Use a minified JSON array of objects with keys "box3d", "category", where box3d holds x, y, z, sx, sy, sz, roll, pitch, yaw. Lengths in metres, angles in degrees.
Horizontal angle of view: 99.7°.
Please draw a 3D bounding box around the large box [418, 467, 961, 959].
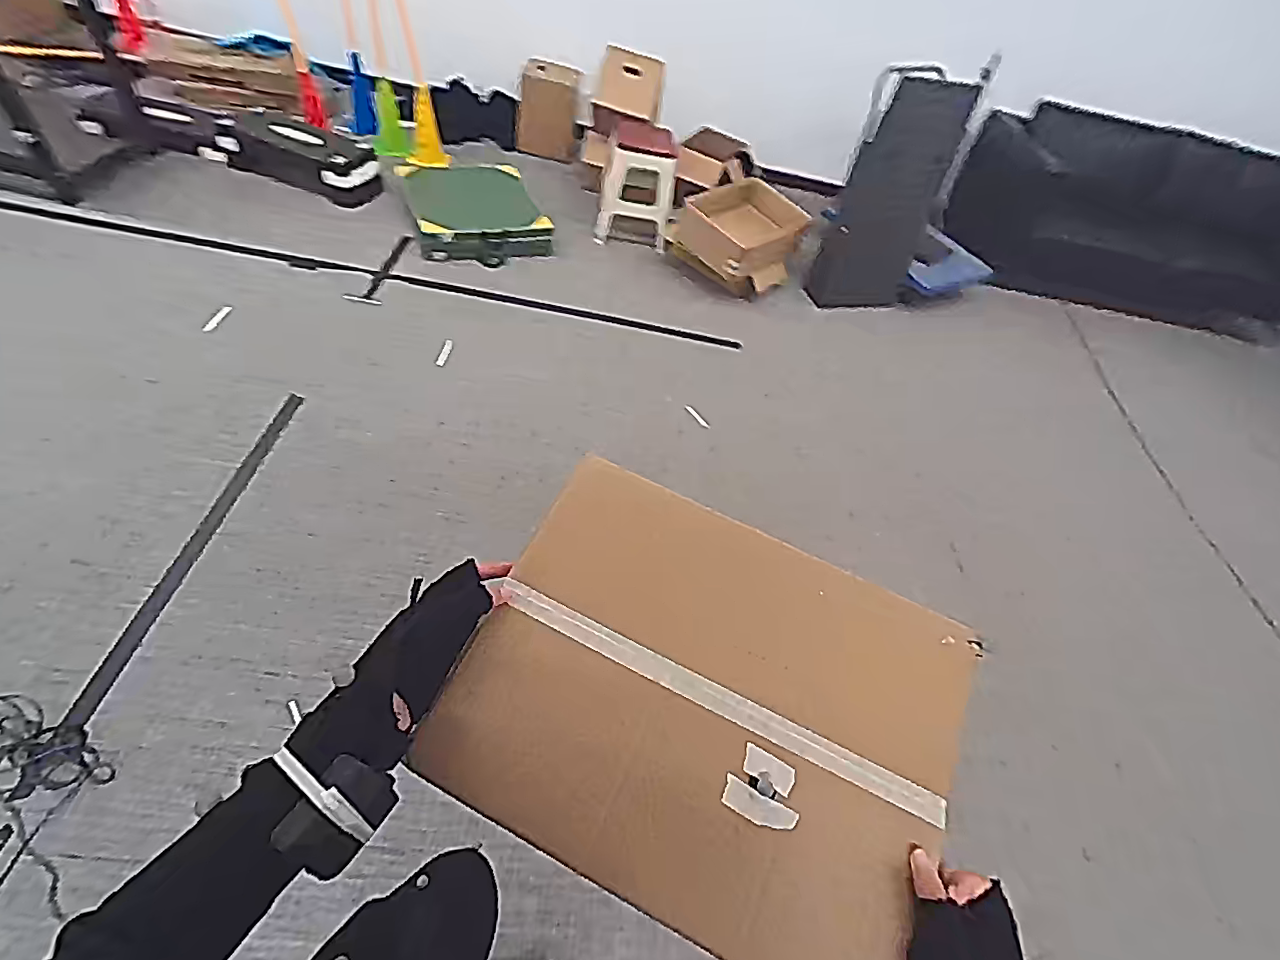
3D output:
[{"box3d":[0.050,0.248,0.606,0.408,0.320,0.320,25,67,8],"category":"large box"}]
